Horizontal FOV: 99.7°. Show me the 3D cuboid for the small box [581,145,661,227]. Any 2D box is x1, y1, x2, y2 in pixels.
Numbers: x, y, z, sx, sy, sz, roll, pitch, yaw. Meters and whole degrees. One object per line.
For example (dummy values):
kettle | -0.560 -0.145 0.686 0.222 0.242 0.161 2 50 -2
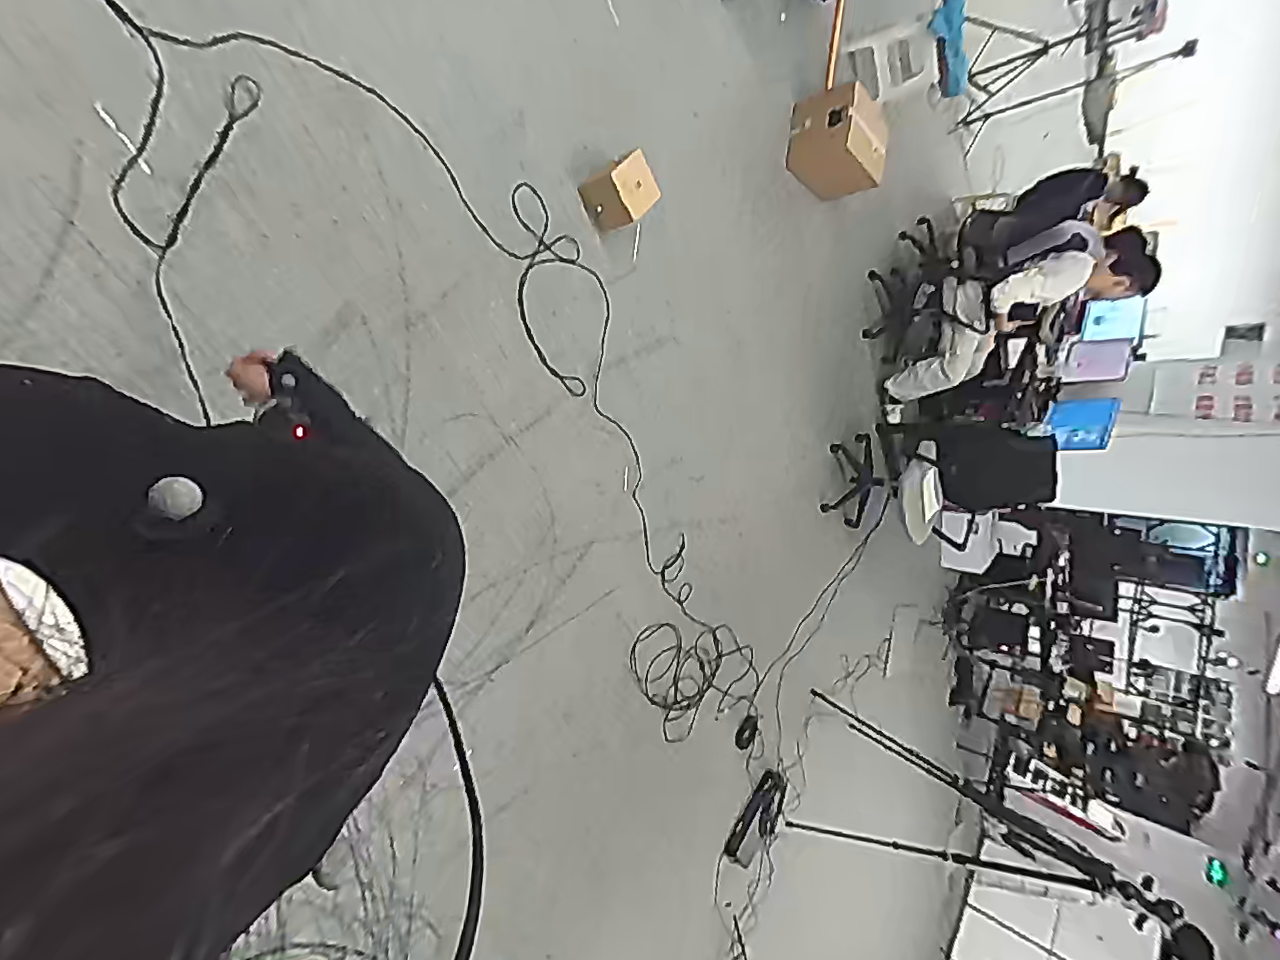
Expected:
small box | -0.067 -0.986 1.824 0.179 0.176 0.168 -54 129 -24
